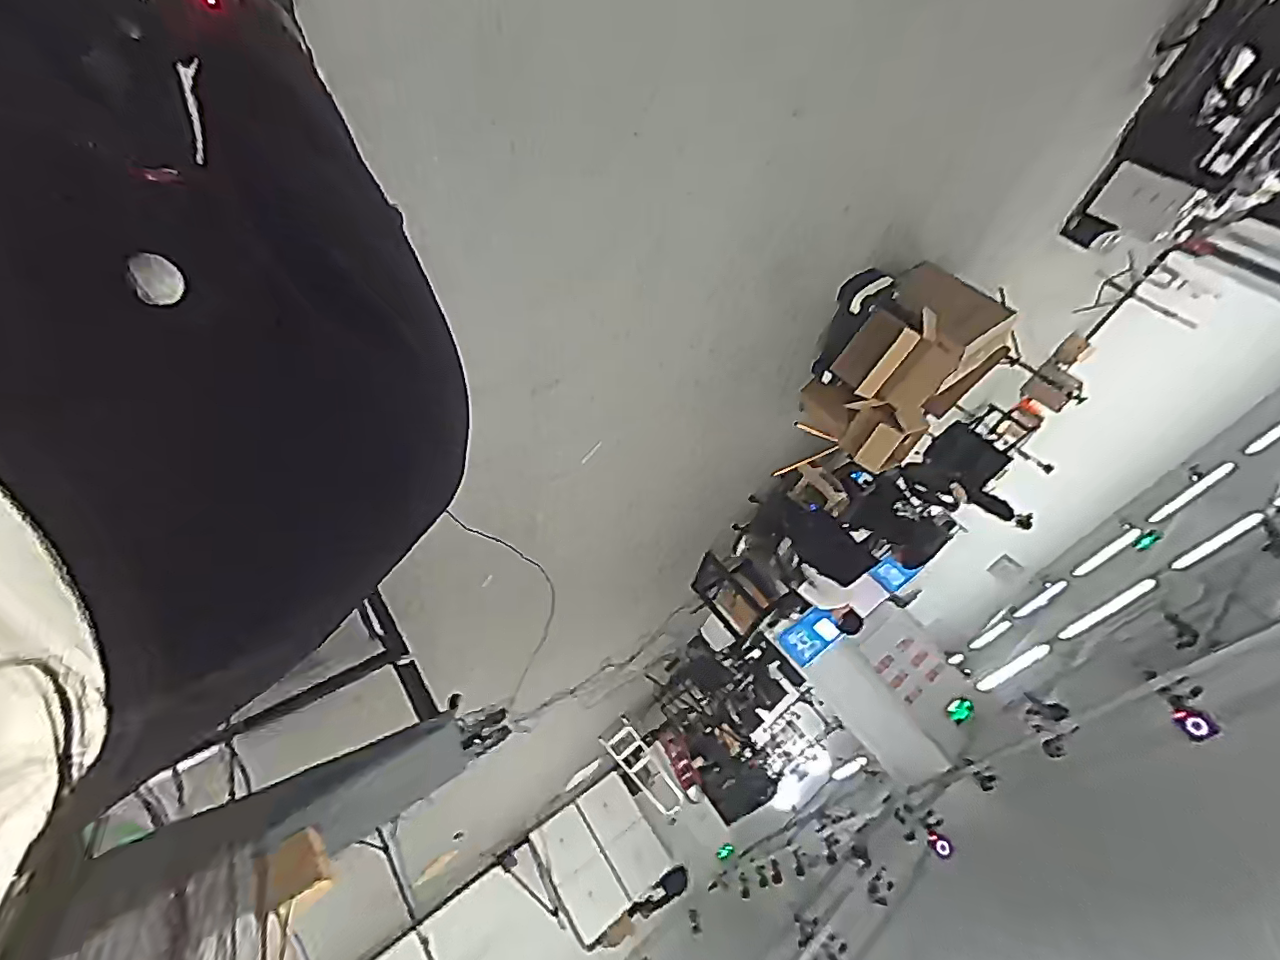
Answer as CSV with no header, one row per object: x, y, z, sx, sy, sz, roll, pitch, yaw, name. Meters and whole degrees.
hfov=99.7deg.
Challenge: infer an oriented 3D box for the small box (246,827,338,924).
-1.060,1.202,1.651,0.179,0.176,0.168,-23,147,-30,small box
